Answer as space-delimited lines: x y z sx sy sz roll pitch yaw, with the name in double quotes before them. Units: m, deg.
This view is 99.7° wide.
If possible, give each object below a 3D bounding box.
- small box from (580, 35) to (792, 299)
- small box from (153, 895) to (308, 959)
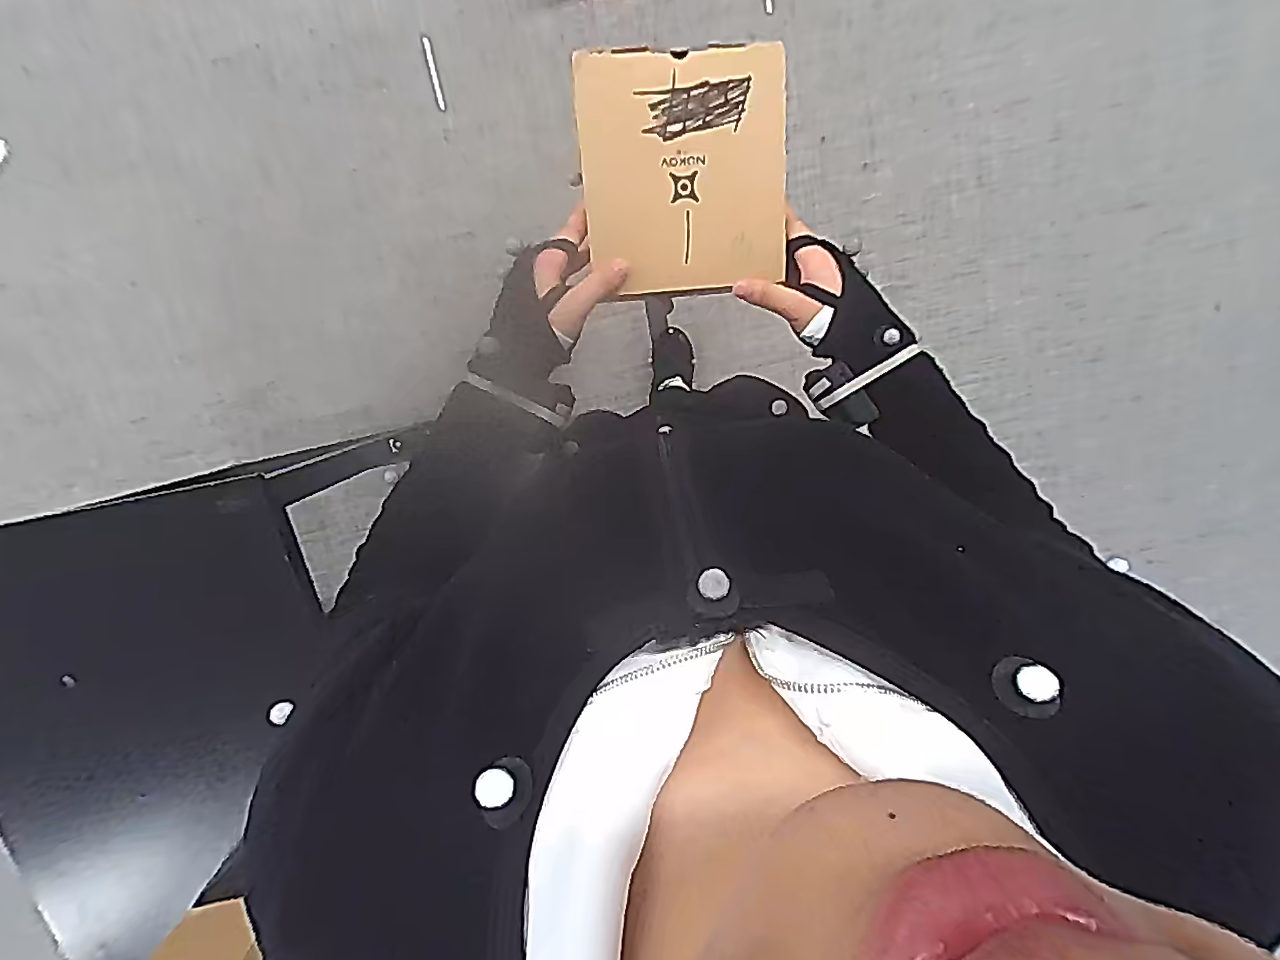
"small box" 0.033 -0.270 0.505 0.168 0.176 0.179 -6 107 -3
"small box" -0.648 0.785 0.831 0.179 0.176 0.168 -12 102 2
